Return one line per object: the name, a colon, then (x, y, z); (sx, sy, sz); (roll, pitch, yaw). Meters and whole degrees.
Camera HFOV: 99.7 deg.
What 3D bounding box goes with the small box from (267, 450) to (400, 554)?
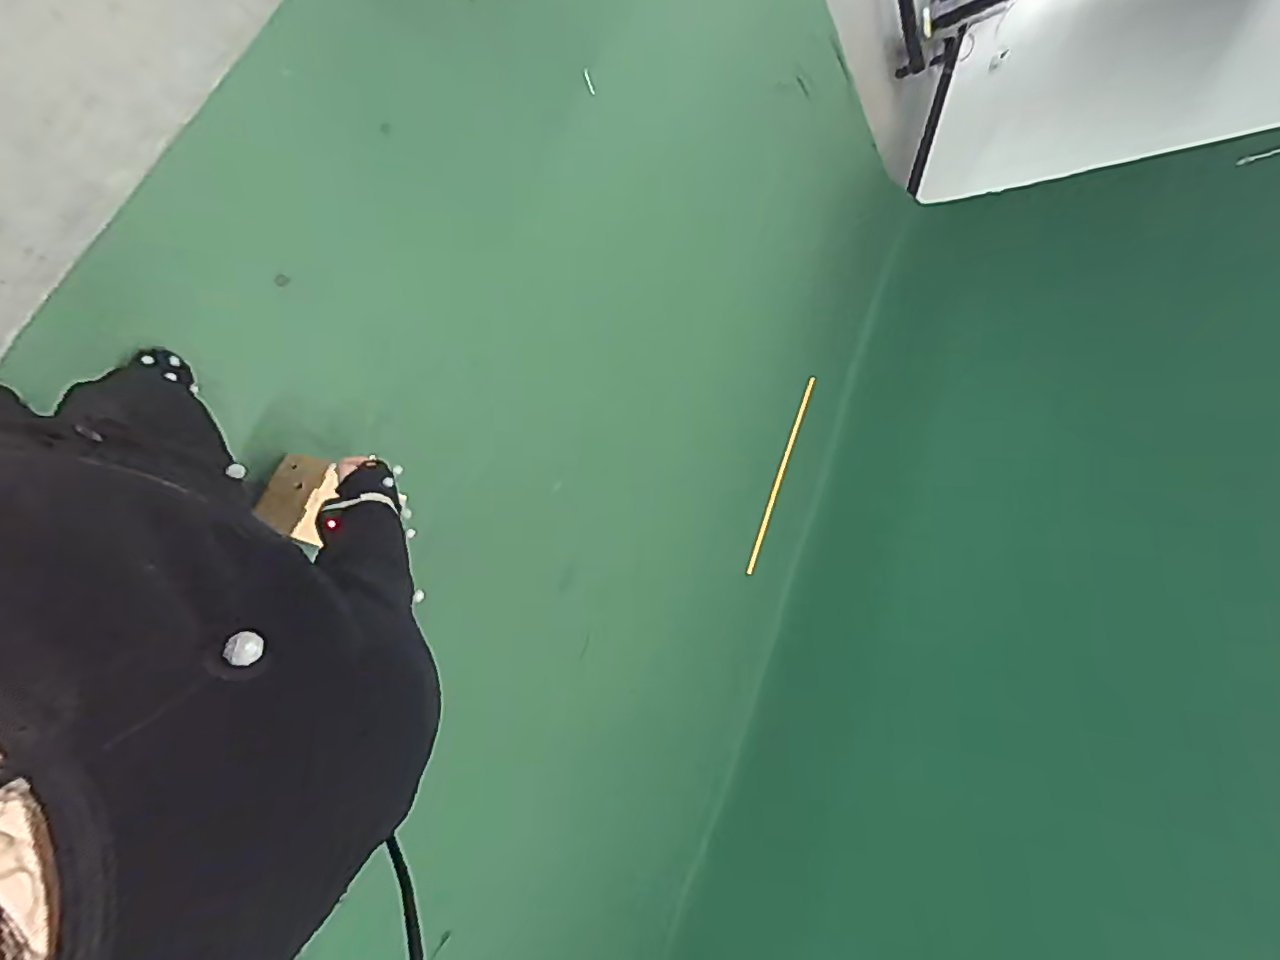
small box: (-0.677, 0.044, 1.193); (0.179, 0.176, 0.168); (36, 71, -44)
